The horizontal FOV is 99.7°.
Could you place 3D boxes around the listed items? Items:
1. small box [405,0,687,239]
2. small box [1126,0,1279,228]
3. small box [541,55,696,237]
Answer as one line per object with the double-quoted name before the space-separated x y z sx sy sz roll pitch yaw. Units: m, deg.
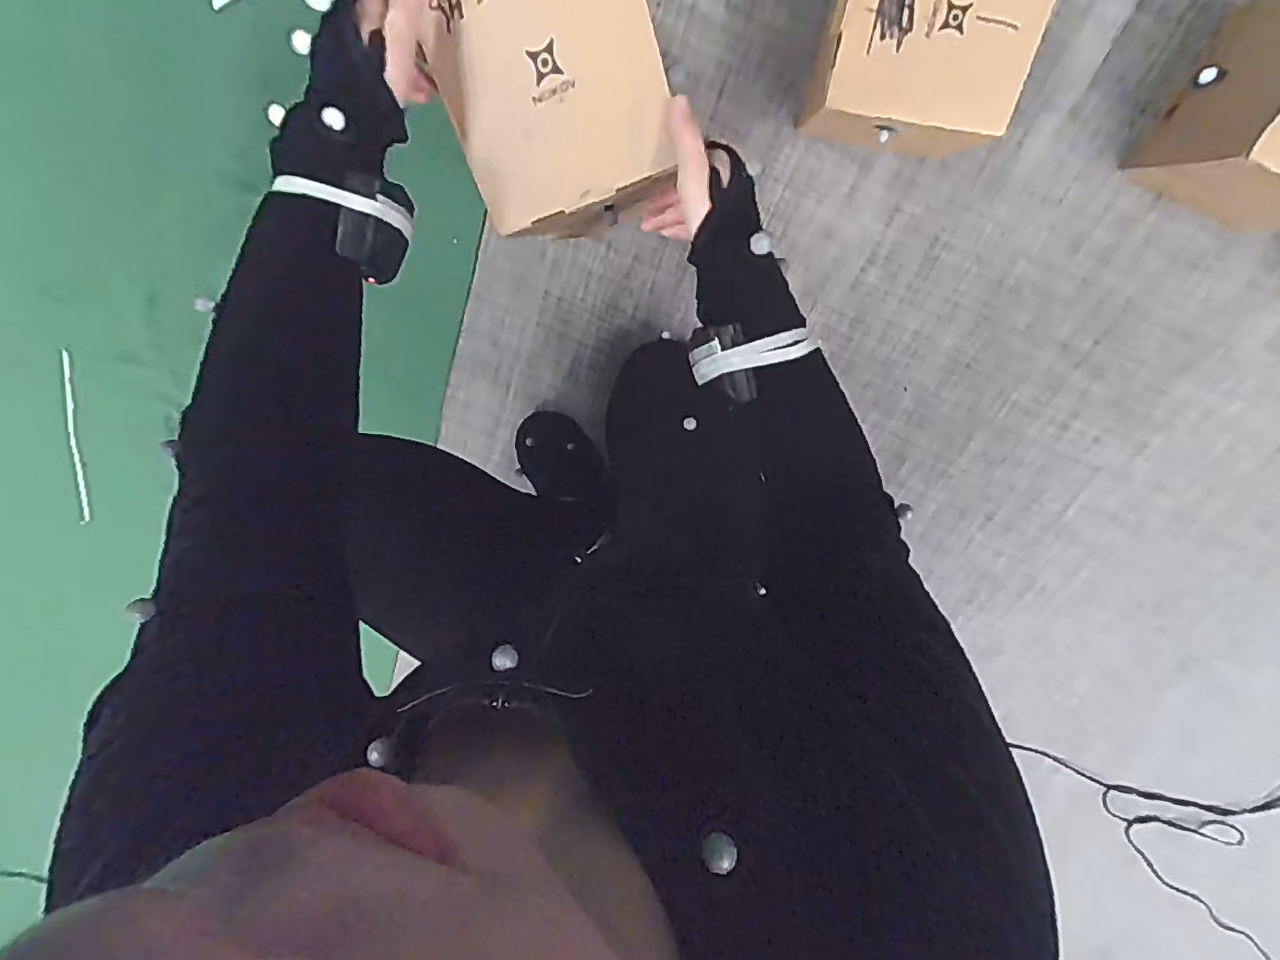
"small box" -0.059 -0.329 0.470 0.168 0.176 0.179 -14 114 13
"small box" 0.668 -0.364 0.539 0.179 0.176 0.168 22 116 -4
"small box" -0.042 -0.393 0.621 0.179 0.176 0.168 -16 112 14
